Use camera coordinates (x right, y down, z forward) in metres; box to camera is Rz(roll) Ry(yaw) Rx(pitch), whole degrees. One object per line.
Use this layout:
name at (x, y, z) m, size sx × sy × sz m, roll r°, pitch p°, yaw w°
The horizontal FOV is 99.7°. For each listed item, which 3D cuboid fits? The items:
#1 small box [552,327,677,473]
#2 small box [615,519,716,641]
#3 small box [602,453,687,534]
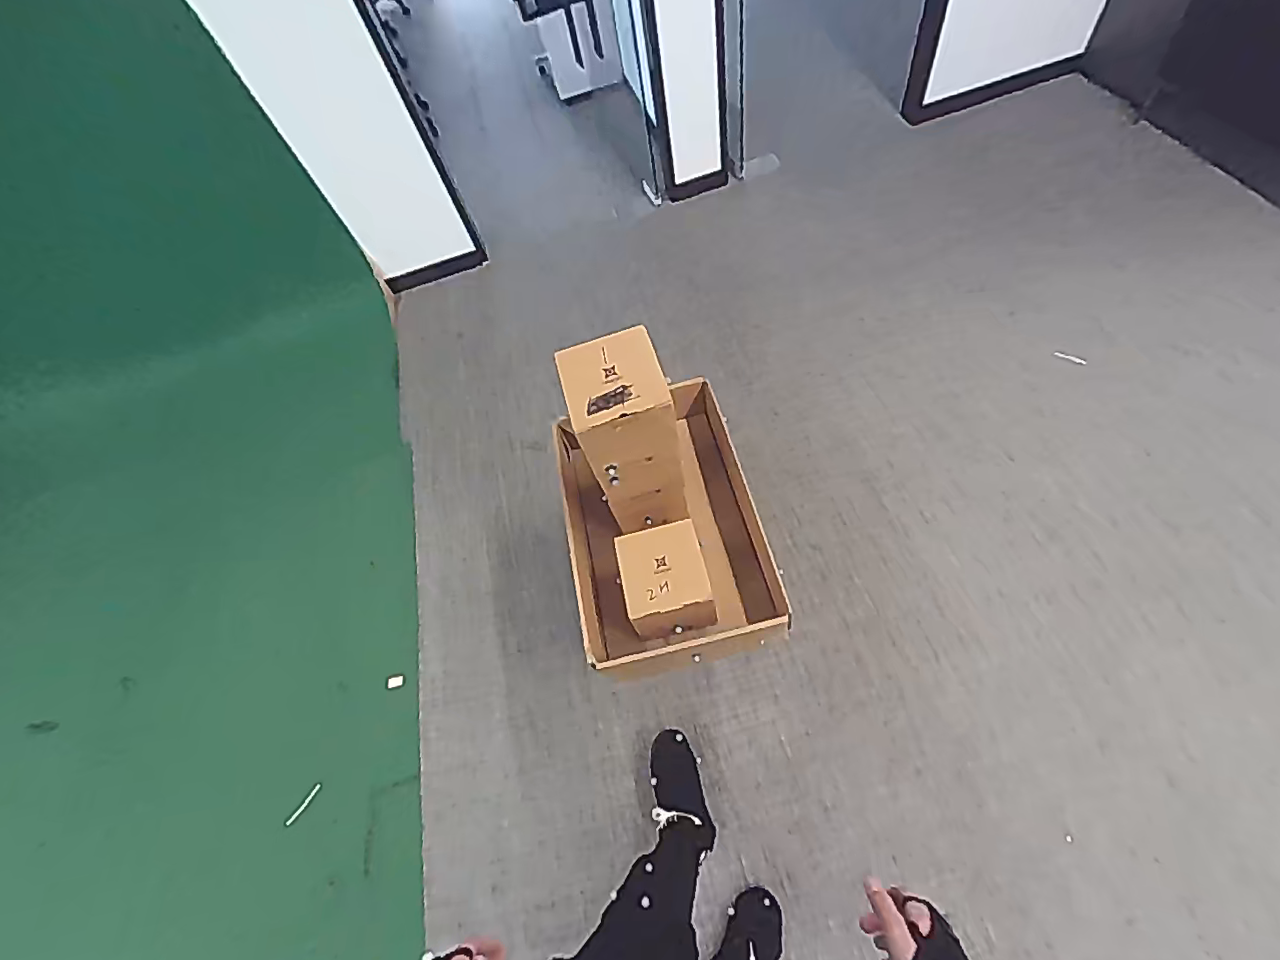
small box at (-0.040, -0.130, 0.955) m, size 0.168 × 0.176 × 0.179 m, roll -18°, pitch 60°, yaw 1°
small box at (0.054, 0.210, 1.114) m, size 0.168 × 0.176 × 0.179 m, roll -15°, pitch 57°, yaw 3°
small box at (0.006, 0.004, 1.252) m, size 0.168 × 0.176 × 0.179 m, roll -16°, pitch 61°, yaw 1°
